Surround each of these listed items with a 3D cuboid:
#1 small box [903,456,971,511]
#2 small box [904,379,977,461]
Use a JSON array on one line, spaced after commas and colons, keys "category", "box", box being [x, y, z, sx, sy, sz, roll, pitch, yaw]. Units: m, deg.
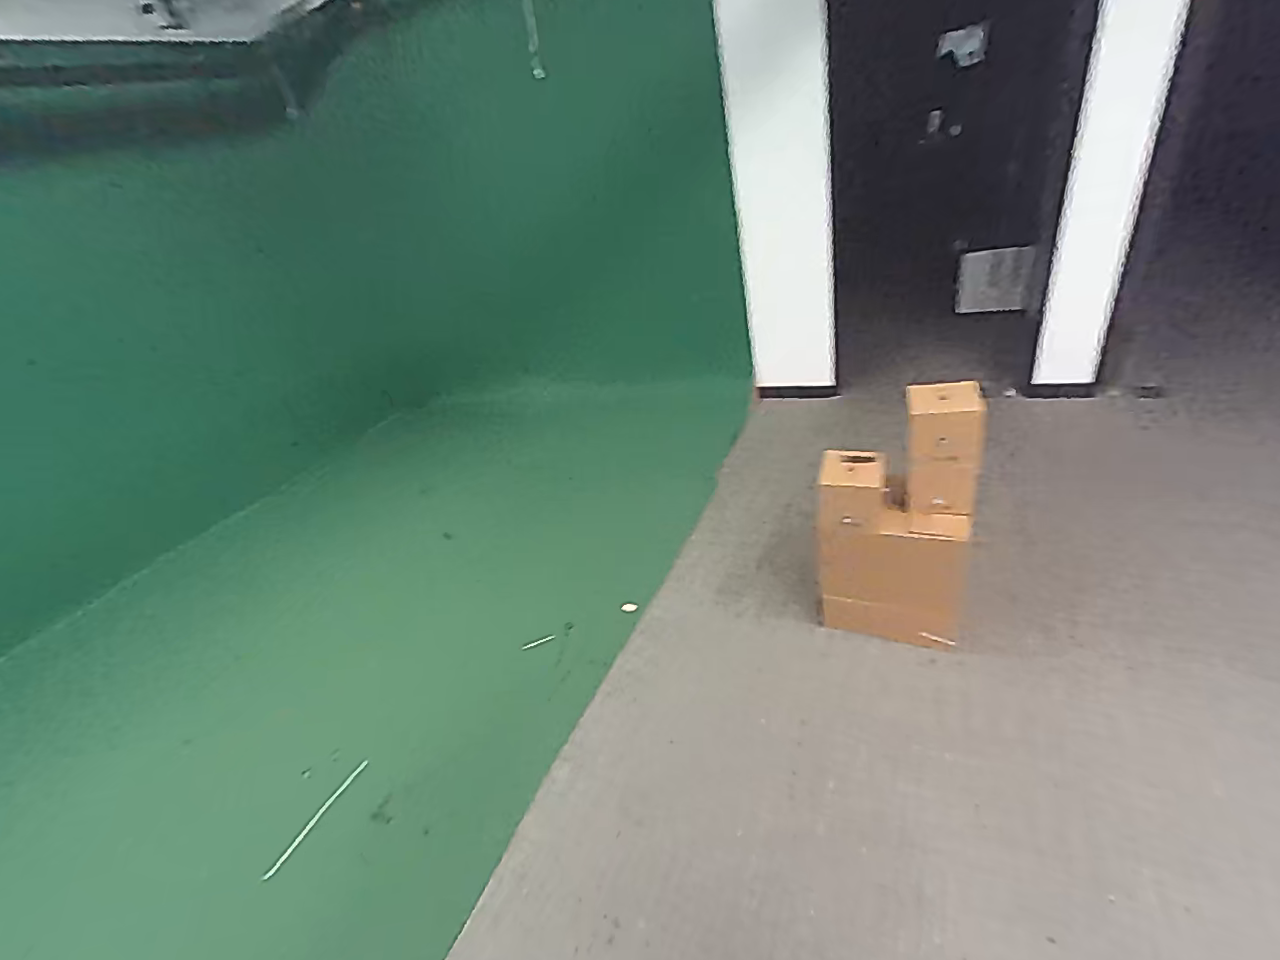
[{"category": "small box", "box": [0.871, -0.029, 1.596, 0.168, 0.176, 0.179, 1, 37, 26]}, {"category": "small box", "box": [0.832, -0.163, 1.510, 0.168, 0.176, 0.179, 0, 35, 24]}]
